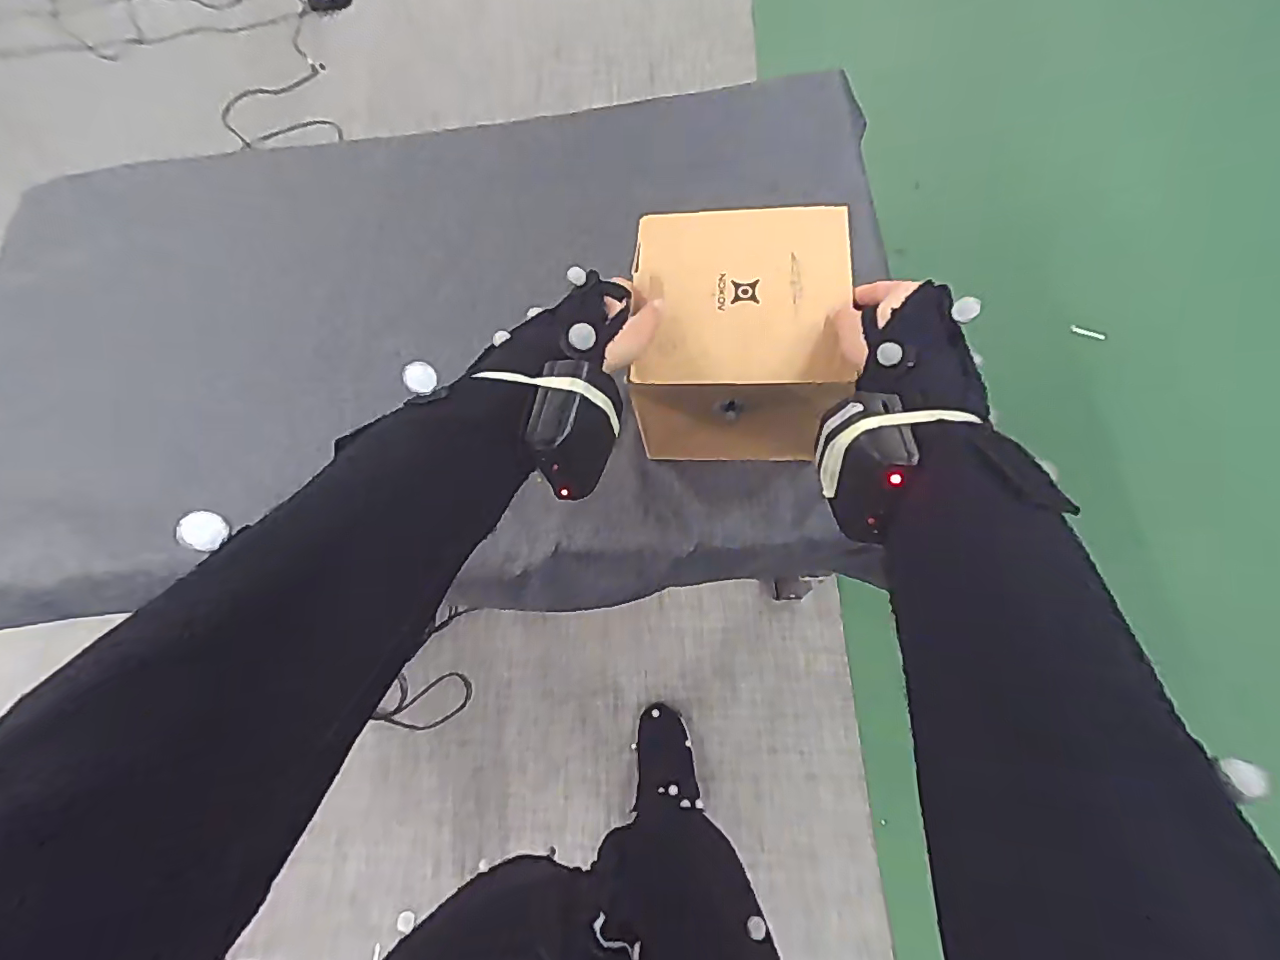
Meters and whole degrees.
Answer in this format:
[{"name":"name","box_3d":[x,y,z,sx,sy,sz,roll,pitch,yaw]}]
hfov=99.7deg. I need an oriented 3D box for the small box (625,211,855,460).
[{"name":"small box","box_3d":[0.088,-0.122,0.510,0.179,0.176,0.168,1,72,7]}]
